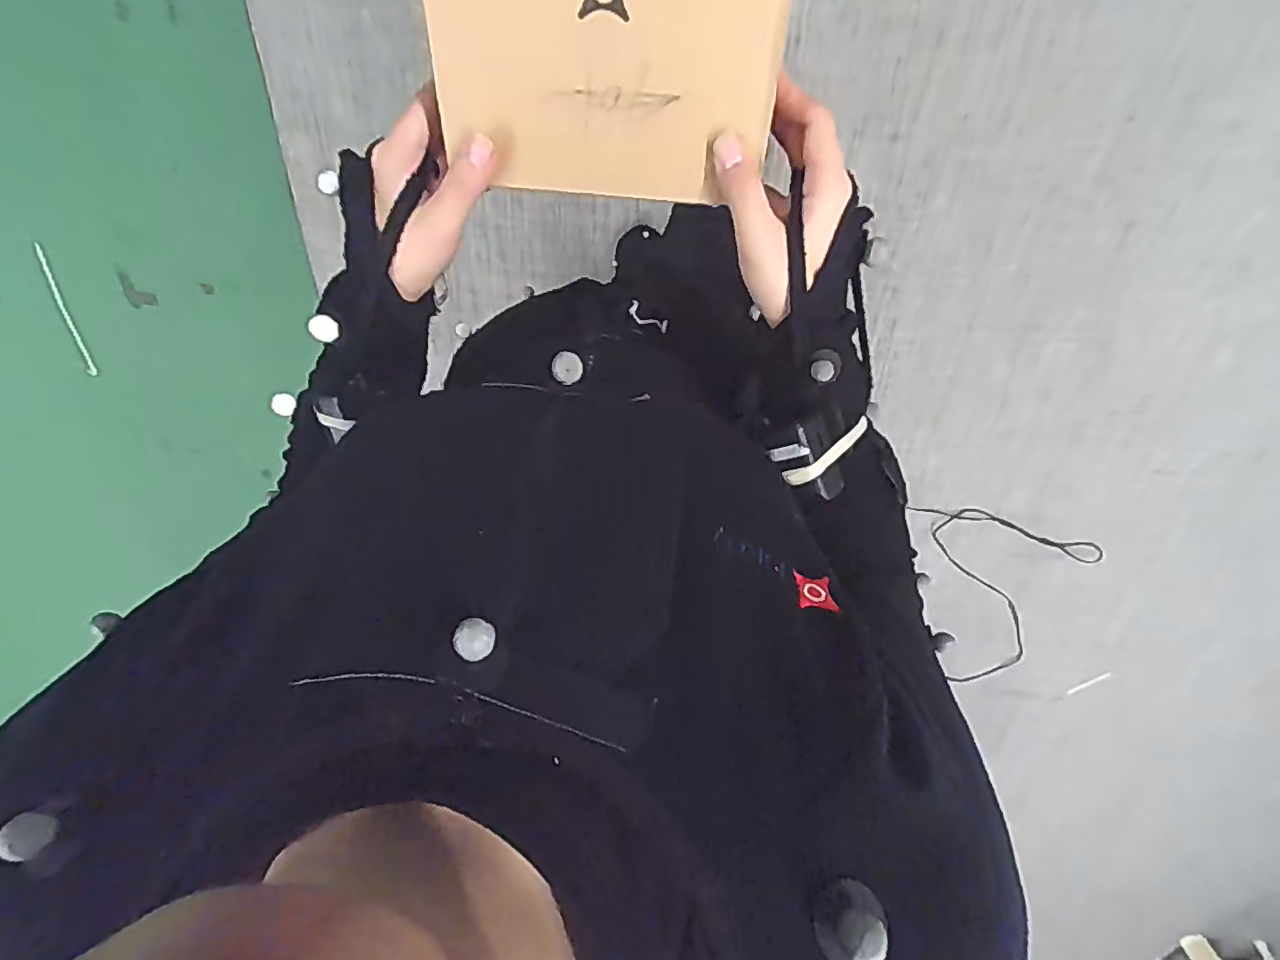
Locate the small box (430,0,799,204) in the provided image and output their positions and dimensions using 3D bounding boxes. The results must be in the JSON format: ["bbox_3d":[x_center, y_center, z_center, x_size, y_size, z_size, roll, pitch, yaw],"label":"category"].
[{"bbox_3d":[-0.006,-0.271,0.291,0.168,0.176,0.179,6,131,2],"label":"small box"}]
